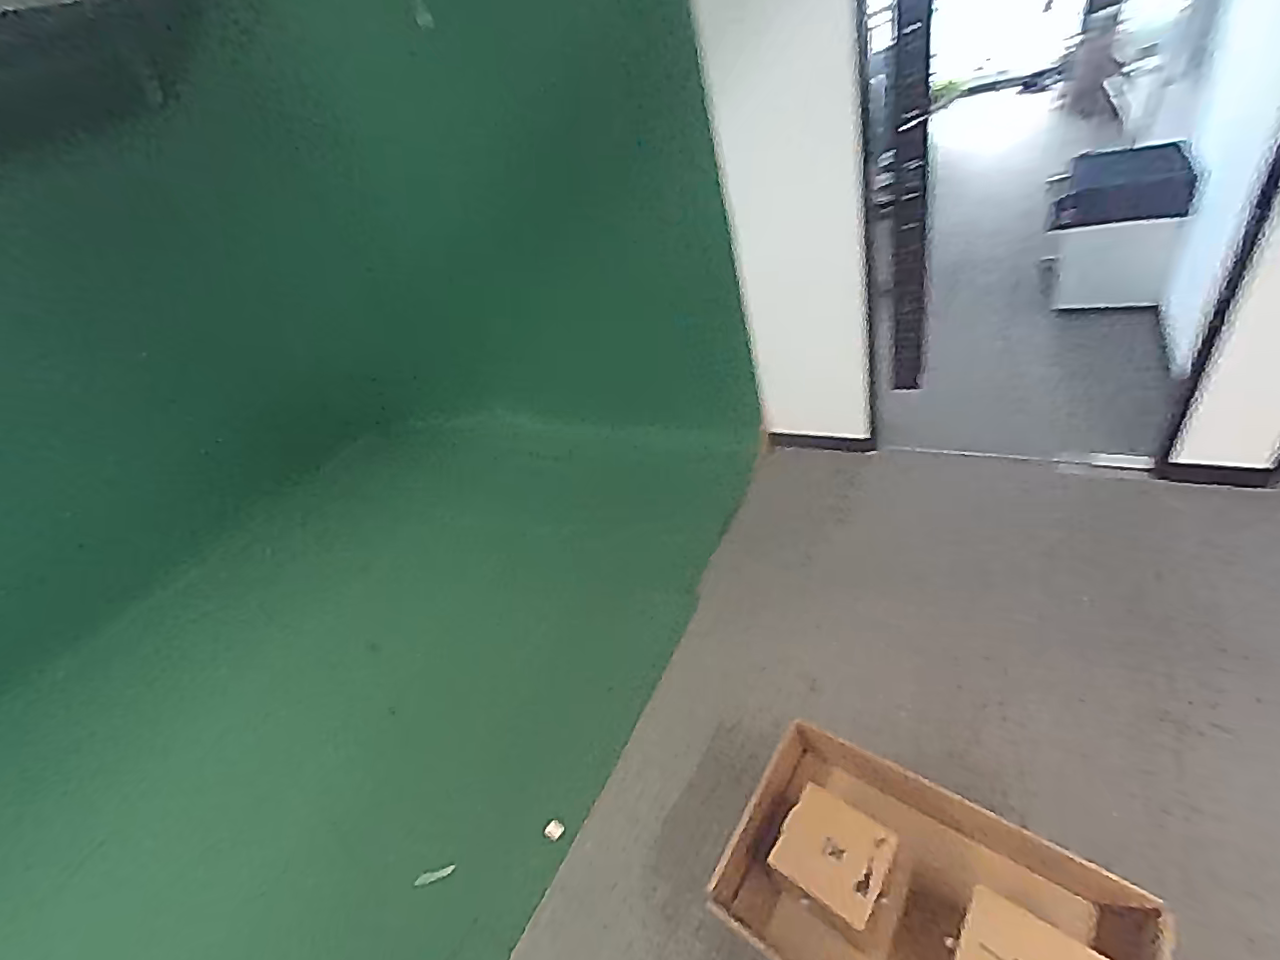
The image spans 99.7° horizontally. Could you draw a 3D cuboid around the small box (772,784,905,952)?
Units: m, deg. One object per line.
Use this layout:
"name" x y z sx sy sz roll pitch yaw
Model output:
"small box" 0.373 0.719 1.004 0.179 0.176 0.168 17 50 41
